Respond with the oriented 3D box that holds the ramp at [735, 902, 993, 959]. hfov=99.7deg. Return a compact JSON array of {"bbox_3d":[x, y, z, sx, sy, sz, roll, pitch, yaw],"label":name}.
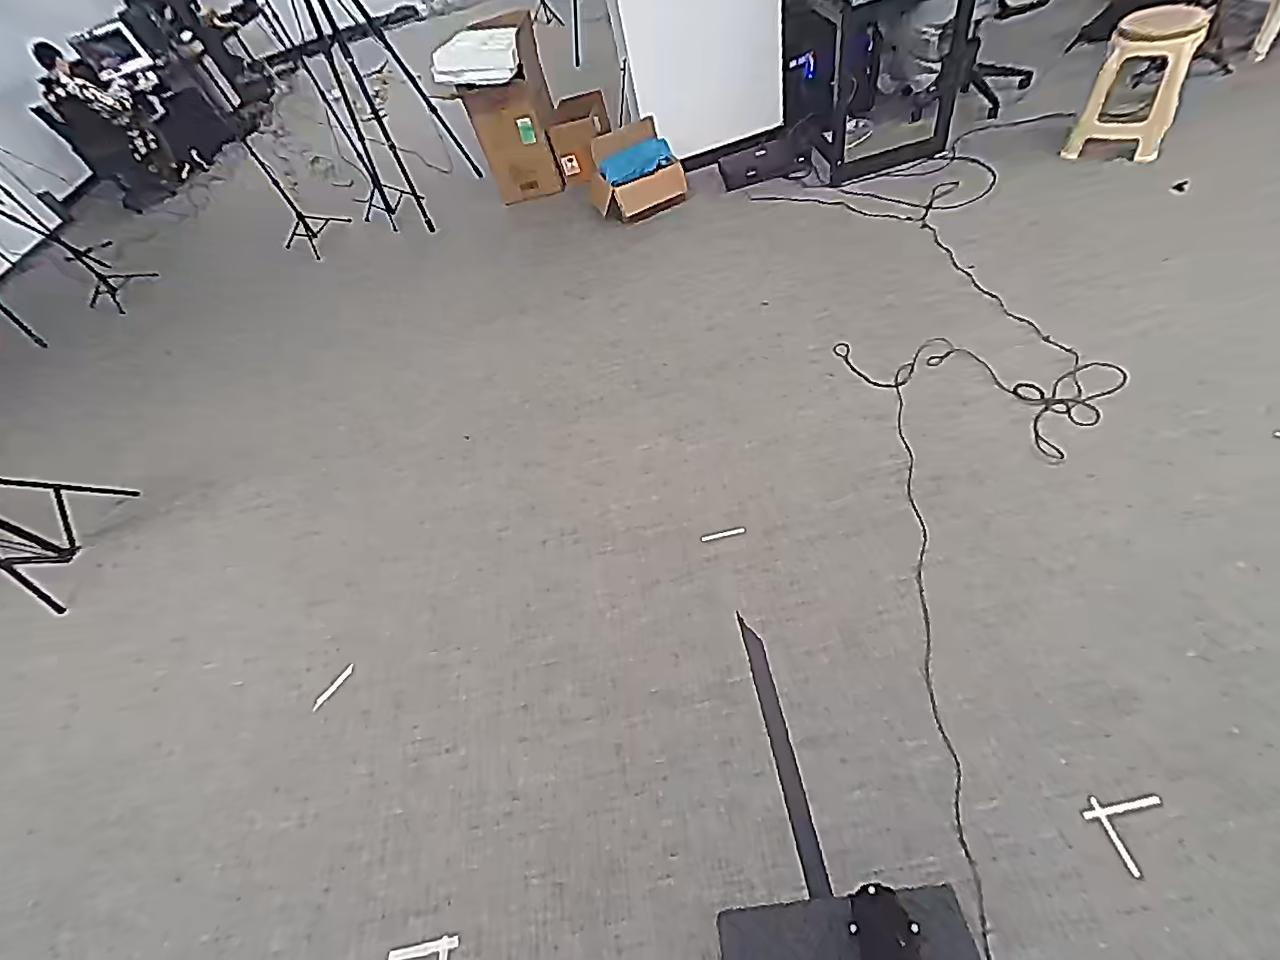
[{"bbox_3d":[0.465,1.228,0.736,0.509,0.206,0.991,-16,48,6],"label":"ramp"}]
